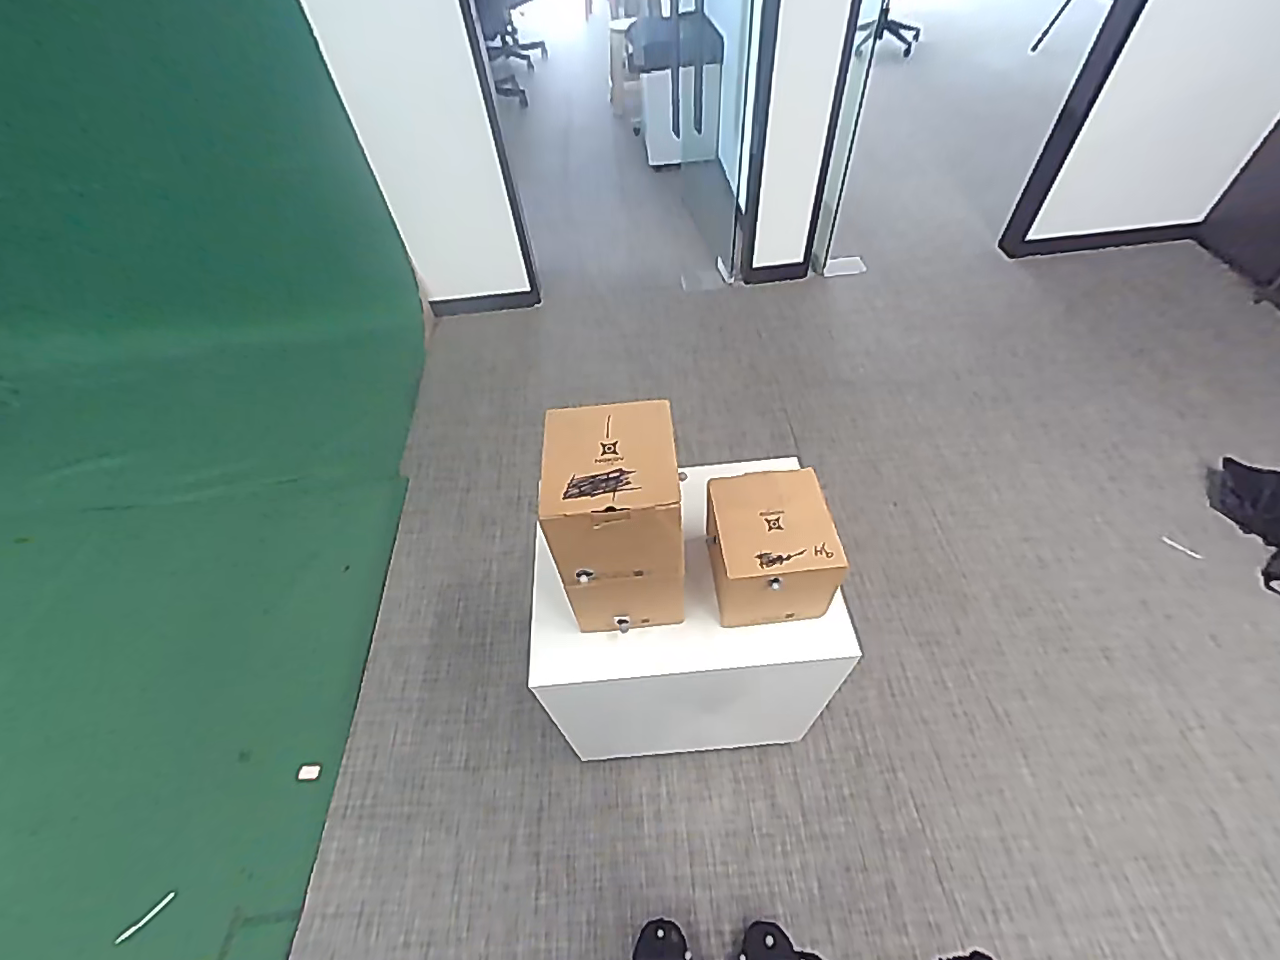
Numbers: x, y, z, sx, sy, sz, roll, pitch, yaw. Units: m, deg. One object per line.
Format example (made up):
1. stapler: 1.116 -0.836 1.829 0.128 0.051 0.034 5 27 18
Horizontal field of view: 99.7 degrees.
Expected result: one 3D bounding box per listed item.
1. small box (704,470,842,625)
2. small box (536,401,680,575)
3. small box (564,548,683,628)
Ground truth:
1. small box: 0.194 0.108 0.850 0.168 0.176 0.179 -5 51 0
2. small box: -0.035 0.019 0.733 0.168 0.176 0.179 -5 50 2
3. small box: -0.026 0.111 0.849 0.168 0.176 0.179 -7 53 0
